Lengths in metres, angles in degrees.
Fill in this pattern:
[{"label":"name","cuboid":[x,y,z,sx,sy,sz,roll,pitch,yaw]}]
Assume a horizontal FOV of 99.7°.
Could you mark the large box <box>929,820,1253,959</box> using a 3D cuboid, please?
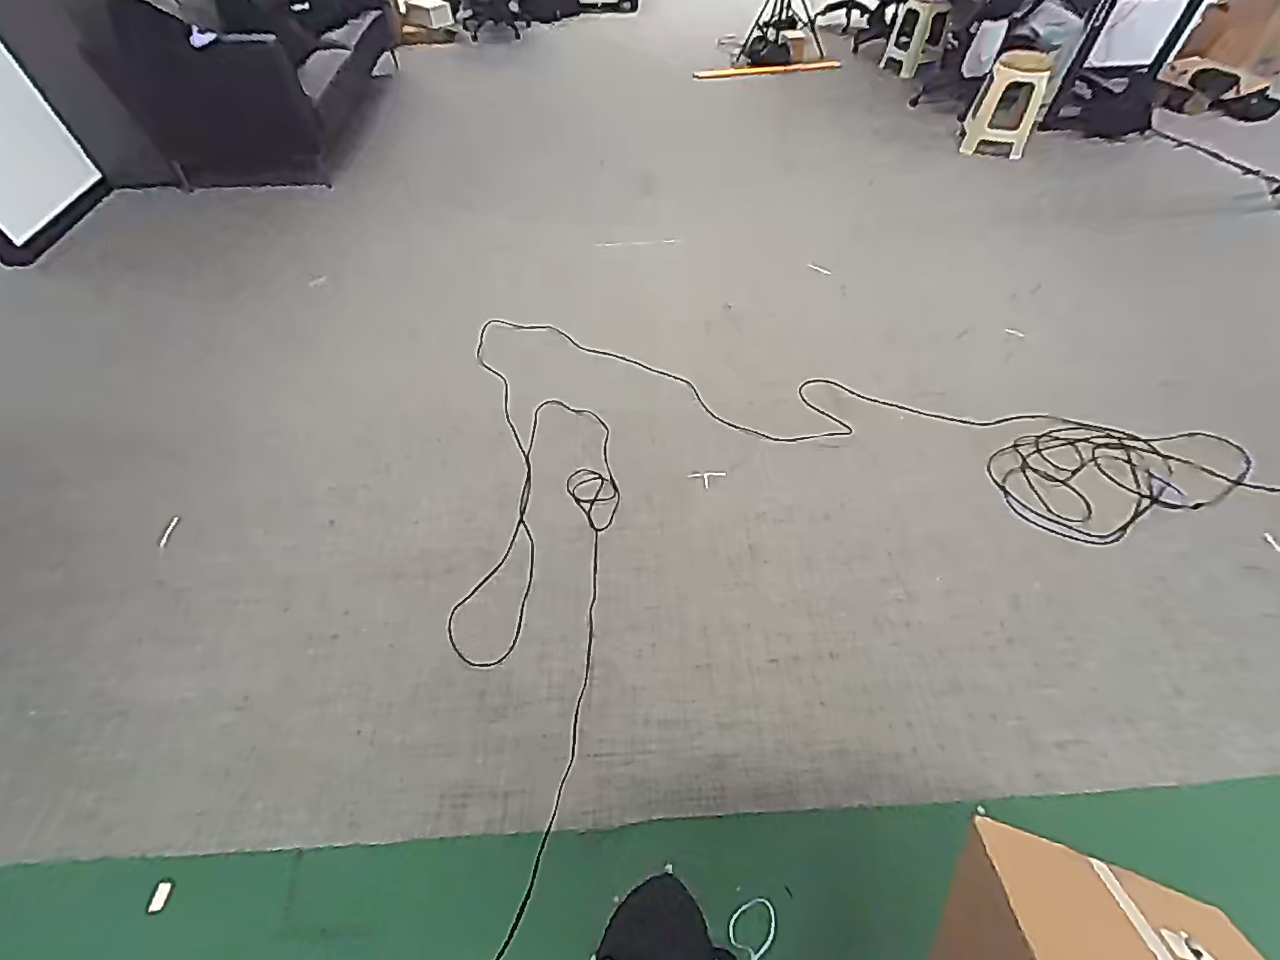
[{"label":"large box","cuboid":[0.552,0.707,0.612,0.320,0.408,0.320,16,96,18]}]
